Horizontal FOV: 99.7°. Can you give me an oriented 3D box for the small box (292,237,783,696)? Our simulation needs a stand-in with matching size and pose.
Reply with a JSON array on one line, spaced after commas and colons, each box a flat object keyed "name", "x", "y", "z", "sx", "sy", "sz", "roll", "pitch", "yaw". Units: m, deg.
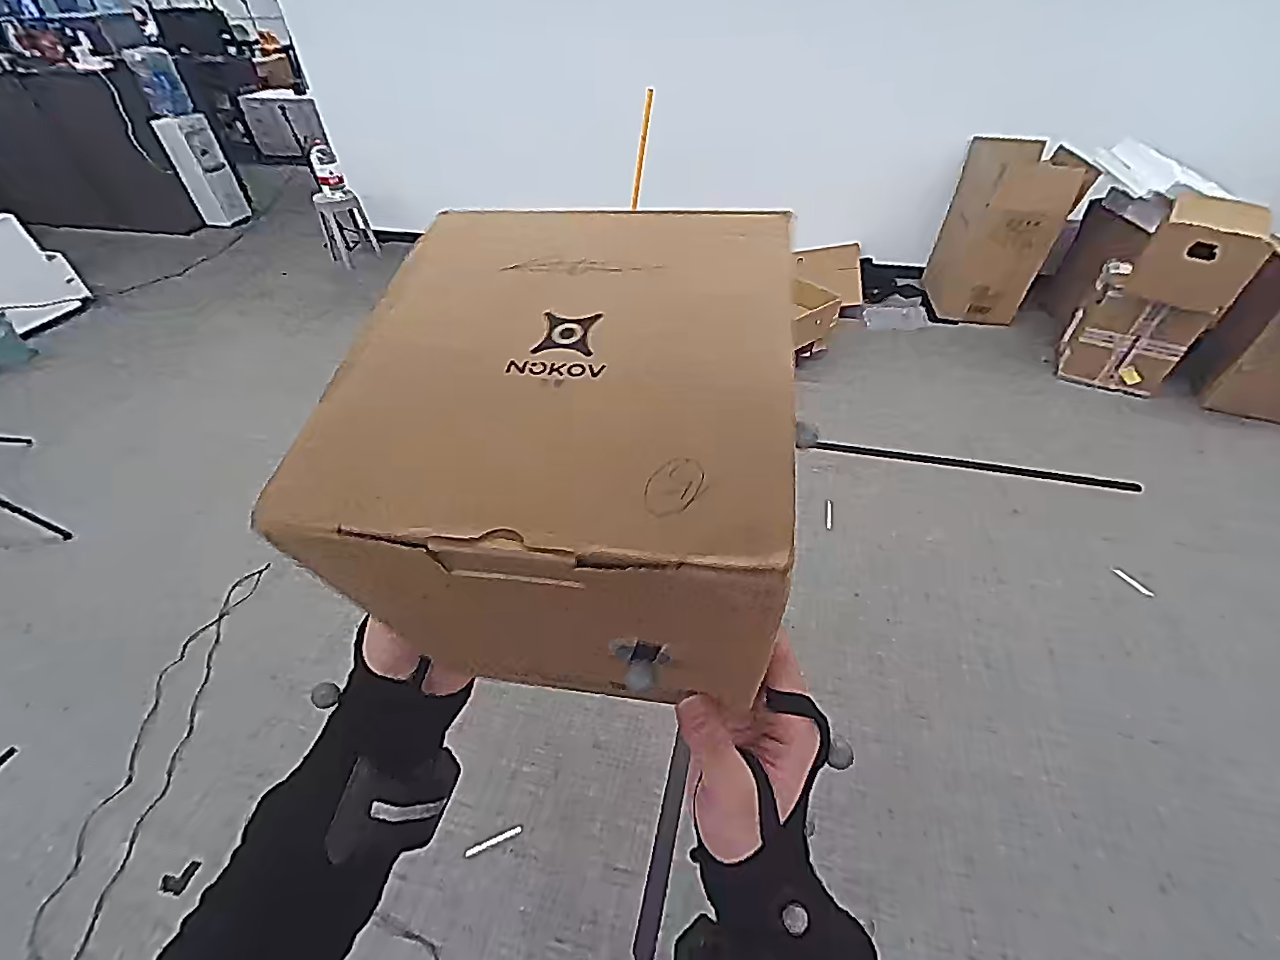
[{"name": "small box", "x": -0.022, "y": 0.001, "z": 0.281, "sx": 0.168, "sy": 0.176, "sz": 0.179, "roll": 2, "pitch": 55, "yaw": 6}]
